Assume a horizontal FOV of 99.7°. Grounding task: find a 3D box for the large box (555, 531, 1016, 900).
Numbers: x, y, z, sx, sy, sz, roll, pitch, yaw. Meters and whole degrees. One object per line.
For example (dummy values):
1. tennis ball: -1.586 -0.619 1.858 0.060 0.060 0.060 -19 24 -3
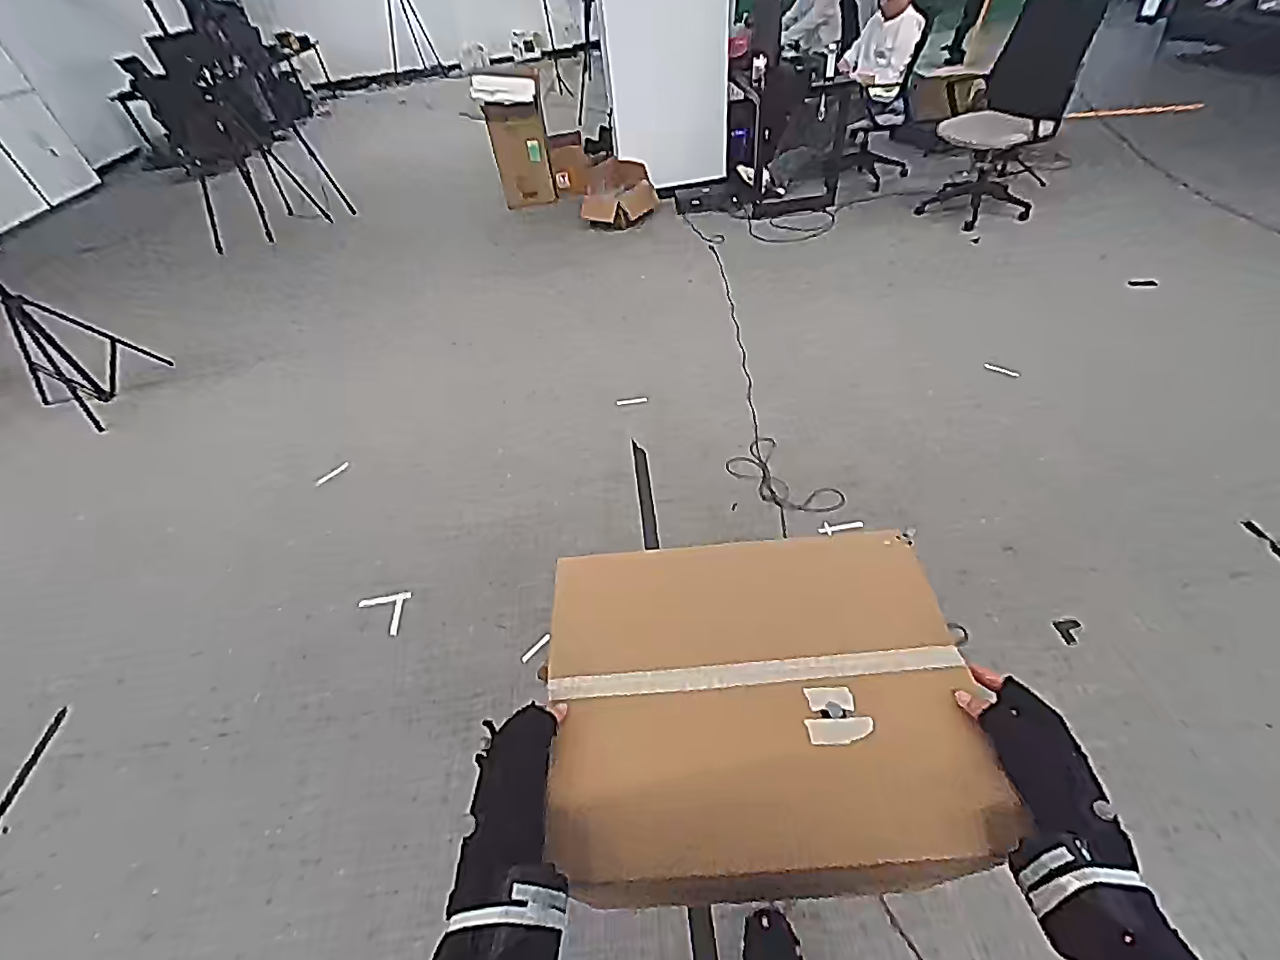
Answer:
1. large box: 0.122 0.294 0.665 0.408 0.320 0.320 -5 49 1
